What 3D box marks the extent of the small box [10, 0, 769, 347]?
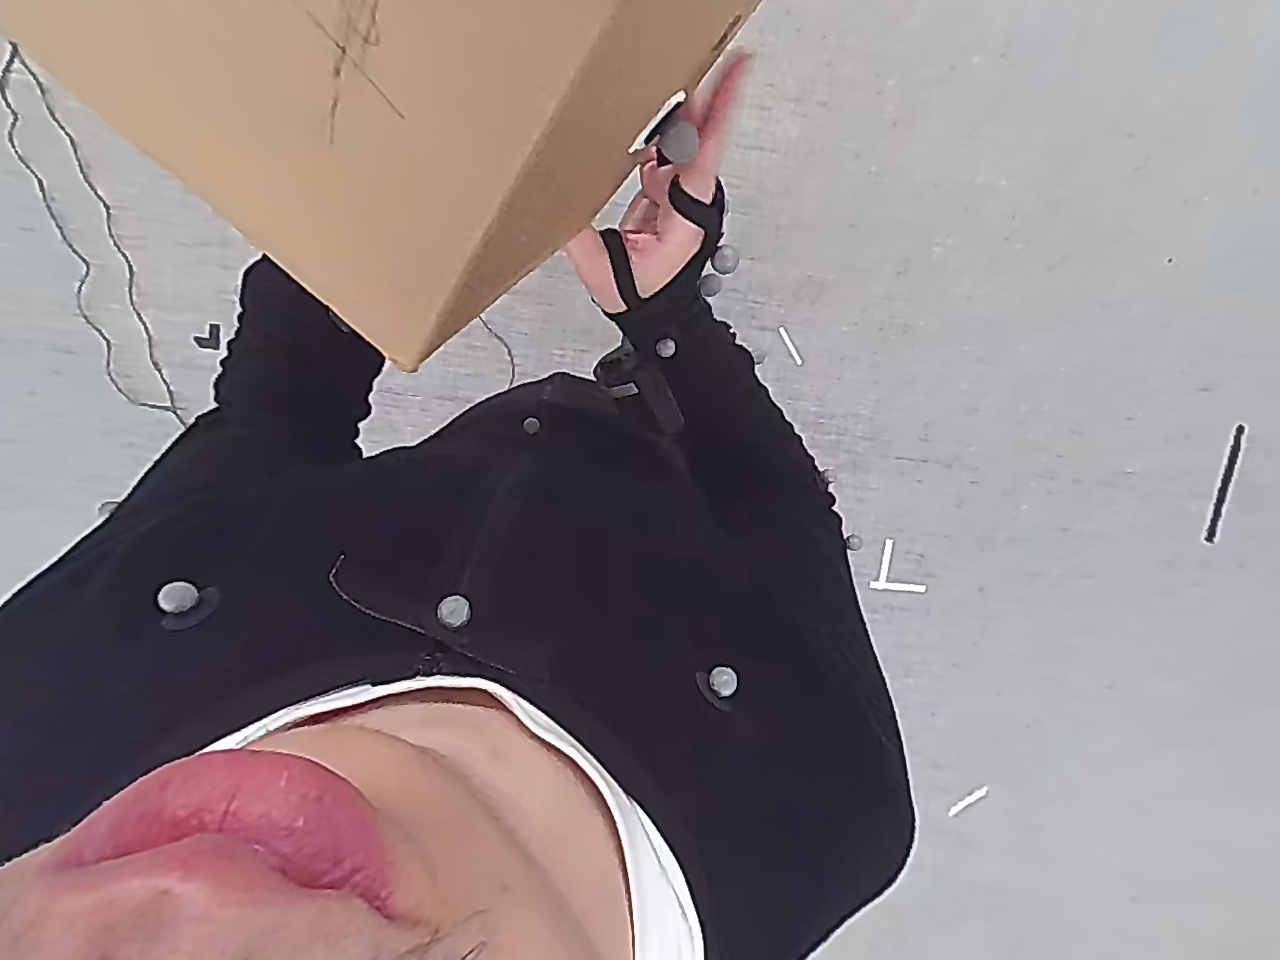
[{"bbox_3d":[-0.060,-0.185,0.170,0.179,0.176,0.168,41,137,-15],"label":"small box"}]
